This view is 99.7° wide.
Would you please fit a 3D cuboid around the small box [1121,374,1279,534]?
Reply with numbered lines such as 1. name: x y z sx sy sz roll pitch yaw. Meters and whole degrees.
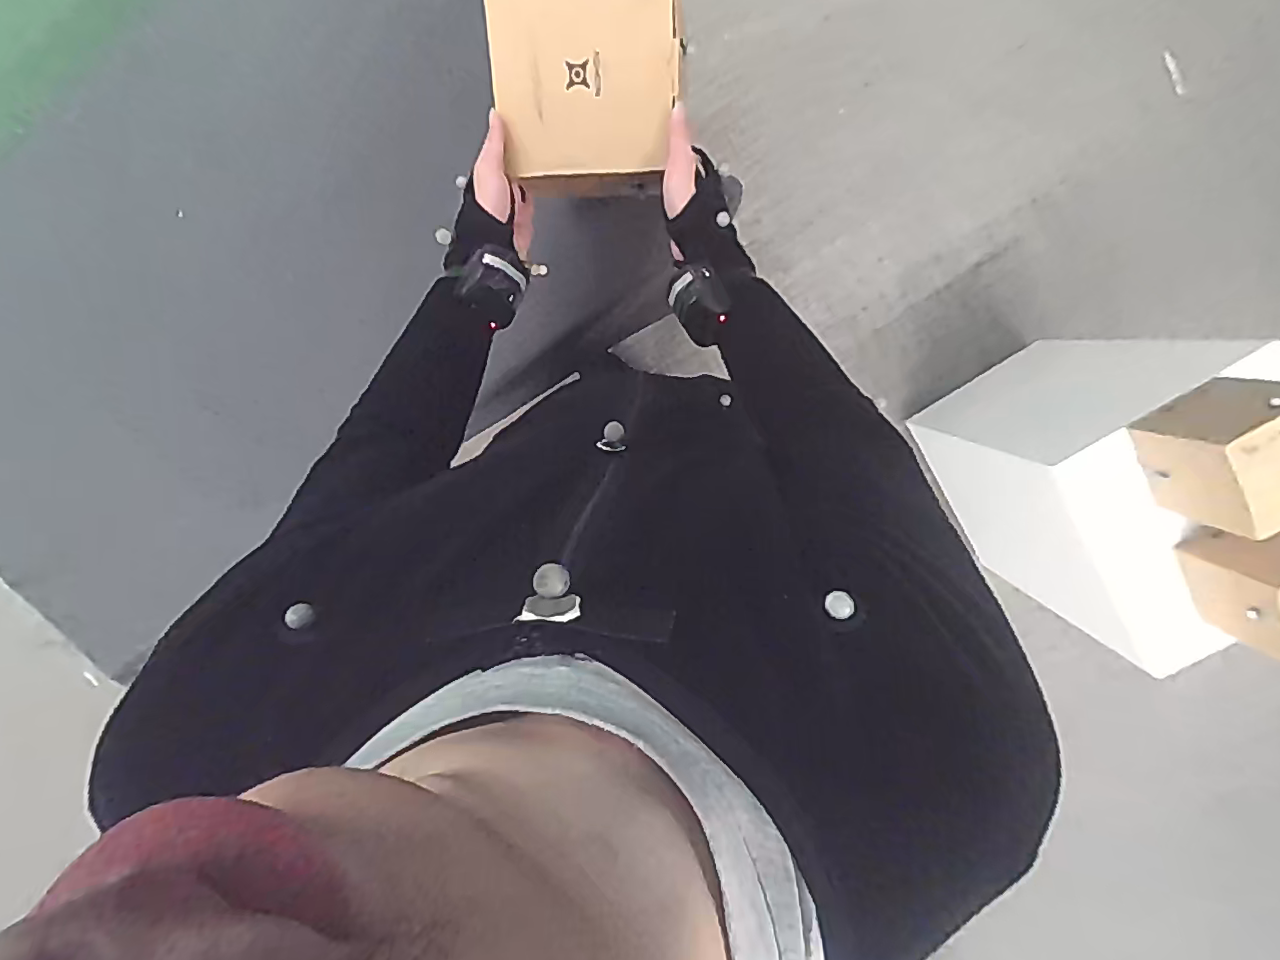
1. small box: 0.929 -0.050 0.855 0.168 0.176 0.179 -31 105 8

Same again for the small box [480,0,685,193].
1. small box: -0.044 -0.403 0.562 0.179 0.176 0.168 2 111 9

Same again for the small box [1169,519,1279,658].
1. small box: 1.063 0.166 0.914 0.168 0.176 0.179 -30 104 8
